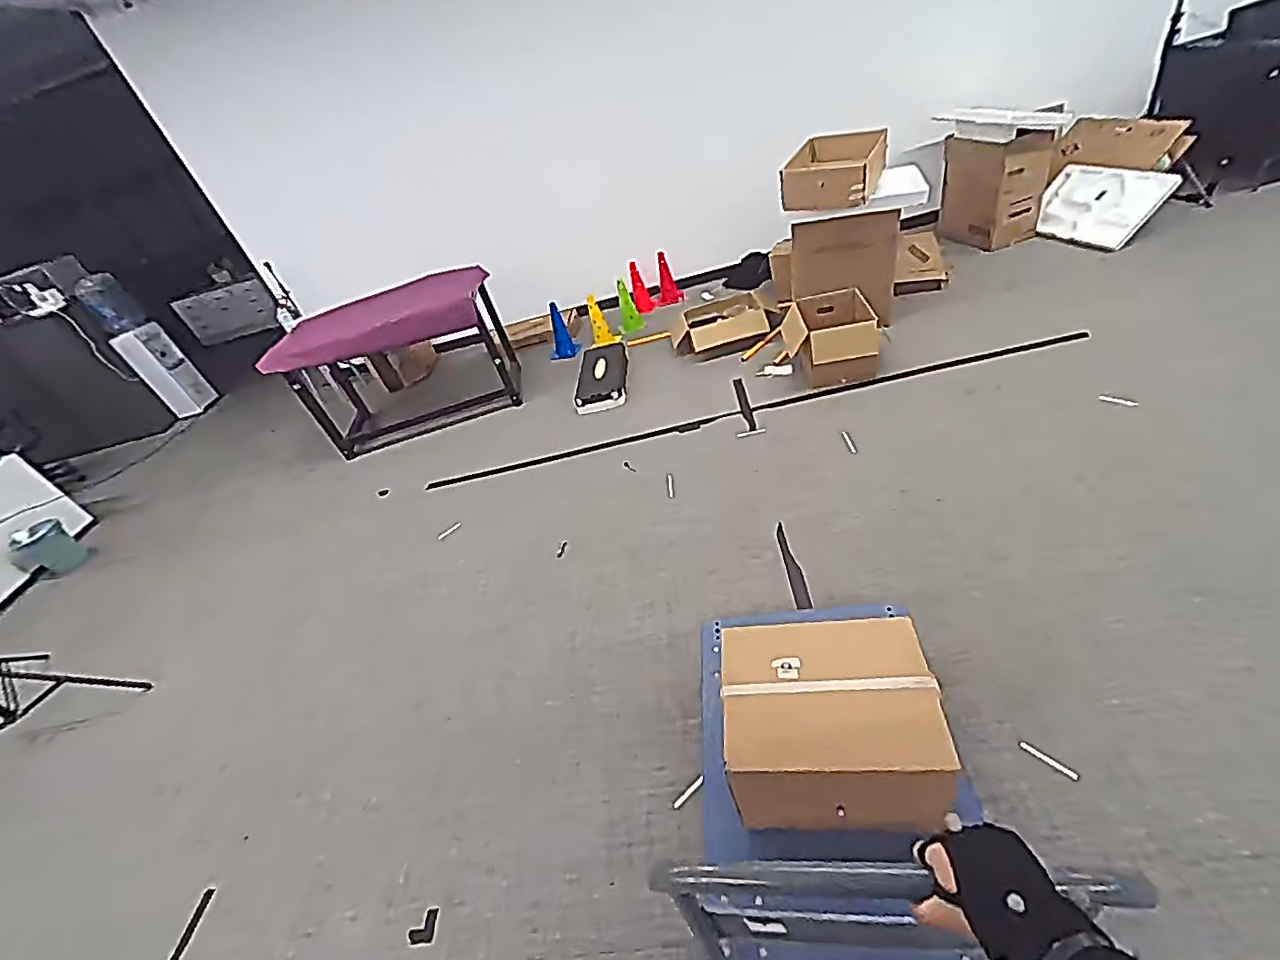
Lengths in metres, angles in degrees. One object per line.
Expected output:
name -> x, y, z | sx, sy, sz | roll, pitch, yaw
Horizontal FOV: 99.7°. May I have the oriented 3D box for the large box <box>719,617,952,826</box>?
large box -> 0.403, 0.534, 1.182 | 0.408, 0.320, 0.320 | -9, 38, 14
